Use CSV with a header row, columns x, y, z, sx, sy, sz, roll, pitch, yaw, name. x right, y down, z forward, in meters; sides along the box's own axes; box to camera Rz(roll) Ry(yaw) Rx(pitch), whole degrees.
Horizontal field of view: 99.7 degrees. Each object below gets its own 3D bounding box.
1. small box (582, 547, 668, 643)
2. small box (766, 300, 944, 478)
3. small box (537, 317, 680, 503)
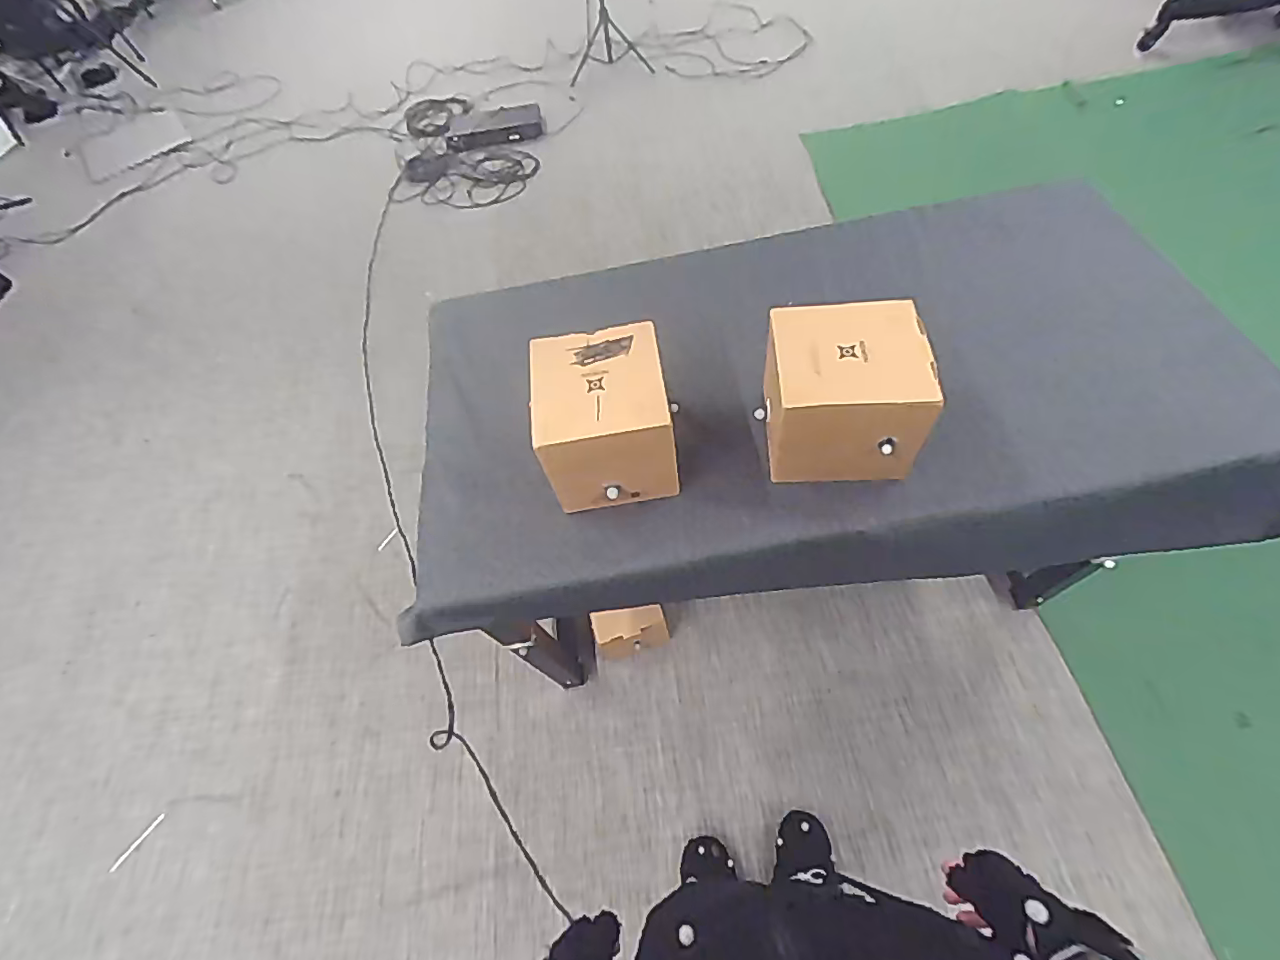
x,y,z,sx,sy,sz,roll,pitch,yaw,name
-0.033,0.299,1.364,0.168,0.176,0.179,-18,61,-3,small box
0.265,-0.112,0.714,0.179,0.176,0.168,-2,59,8,small box
-0.038,-0.090,0.738,0.168,0.176,0.179,-8,60,3,small box
